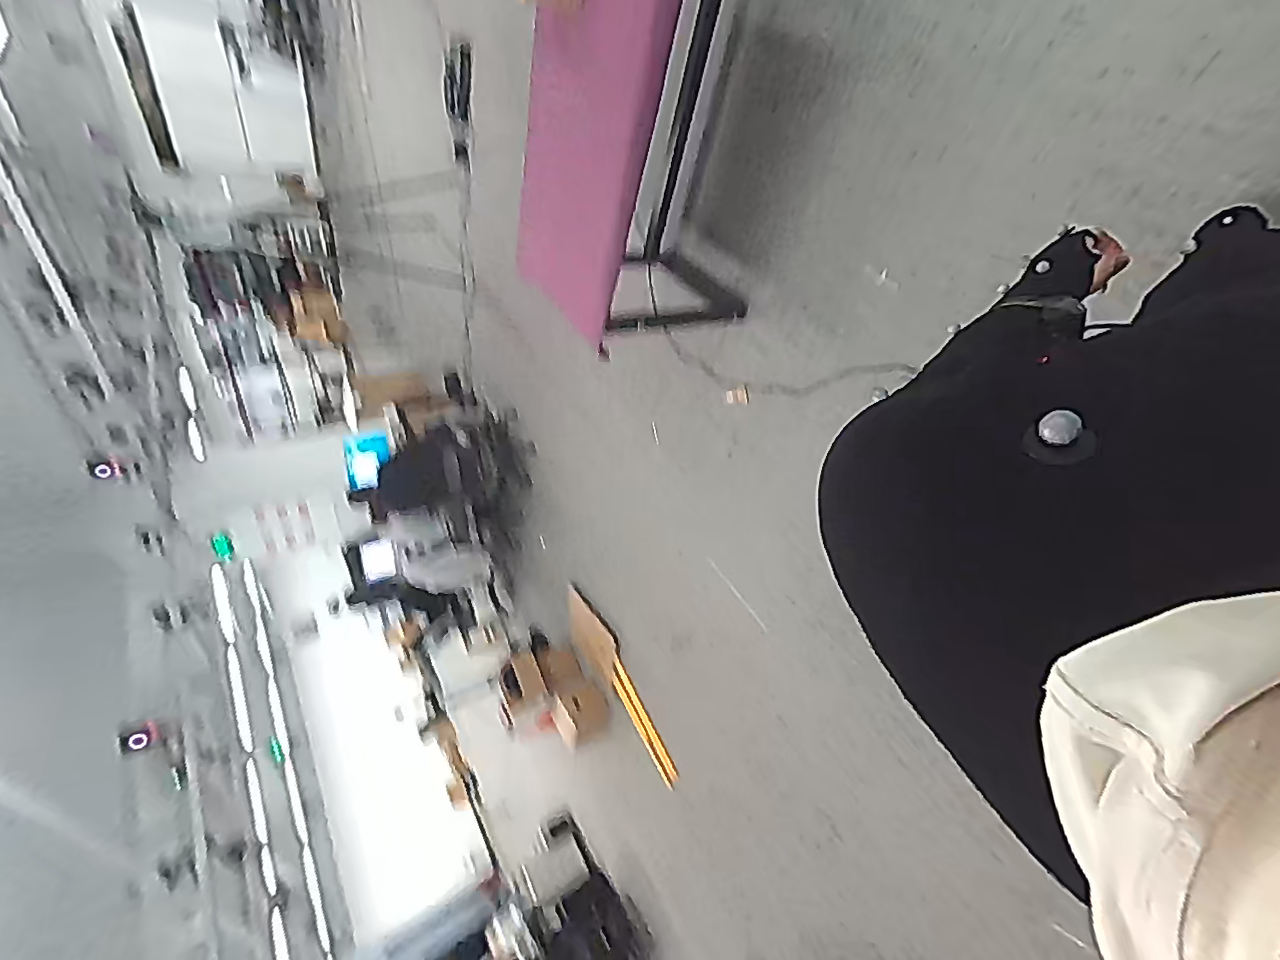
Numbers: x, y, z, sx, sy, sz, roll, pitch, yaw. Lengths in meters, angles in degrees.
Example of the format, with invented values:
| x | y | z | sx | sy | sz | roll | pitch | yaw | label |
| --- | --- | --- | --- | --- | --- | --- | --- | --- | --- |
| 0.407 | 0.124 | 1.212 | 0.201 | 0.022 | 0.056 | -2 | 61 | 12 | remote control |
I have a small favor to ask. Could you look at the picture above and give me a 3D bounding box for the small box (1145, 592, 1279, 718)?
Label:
| x | y | z | sx | sy | sz | roll | pitch | yaw | label |
| --- | --- | --- | --- | --- | --- | --- | --- | --- | --- |
| 1.269 | 0.371 | 1.170 | 0.168 | 0.176 | 0.179 | 51 | 141 | 31 | small box |
